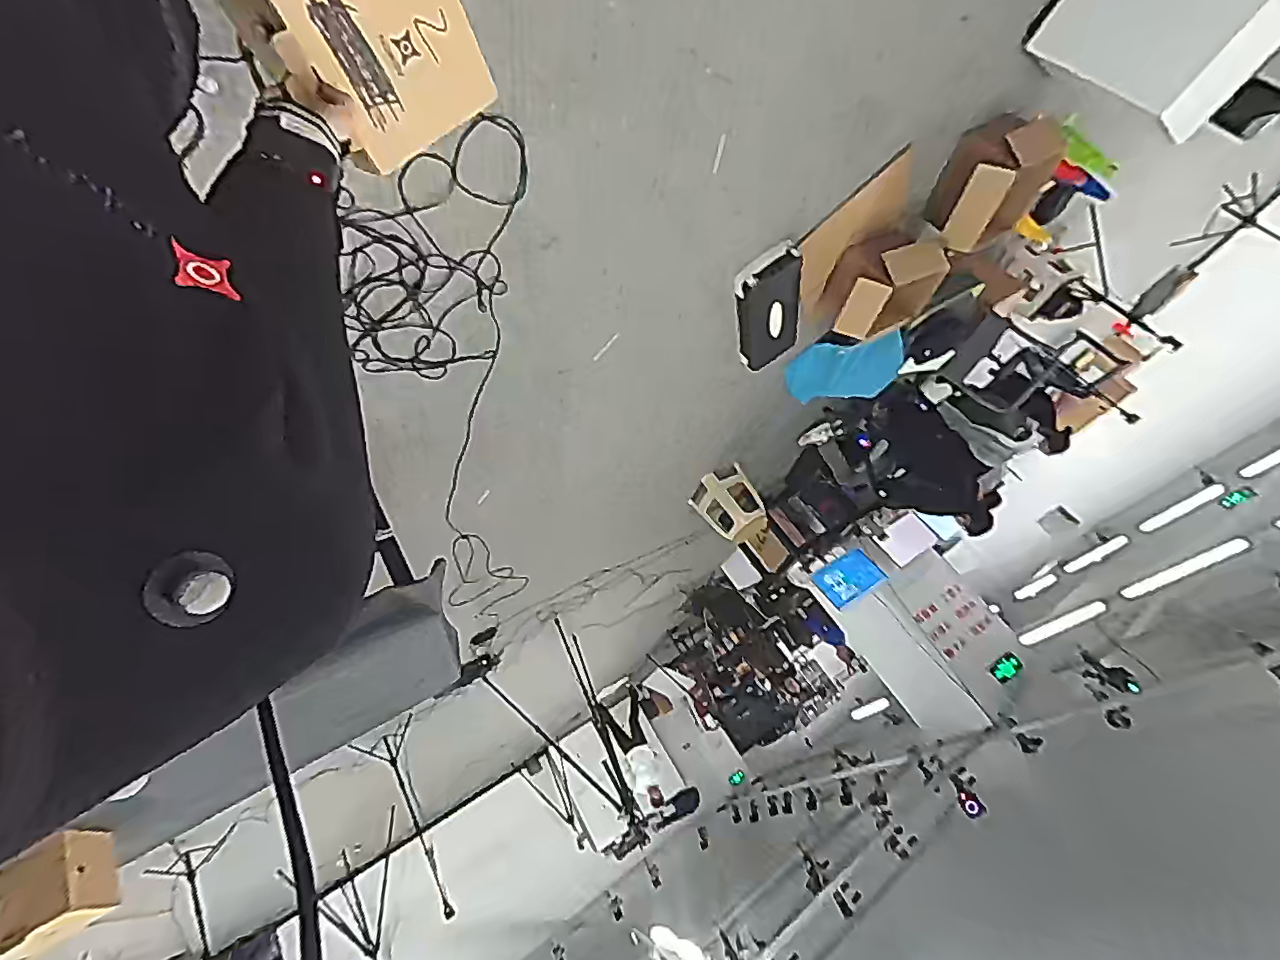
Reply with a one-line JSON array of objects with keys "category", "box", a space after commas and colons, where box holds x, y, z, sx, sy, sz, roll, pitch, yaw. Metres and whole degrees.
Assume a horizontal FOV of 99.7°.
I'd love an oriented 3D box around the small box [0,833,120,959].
[{"category": "small box", "box": [-1.268, 0.881, 1.147, 0.168, 0.176, 0.179, -23, 155, -24]}]
